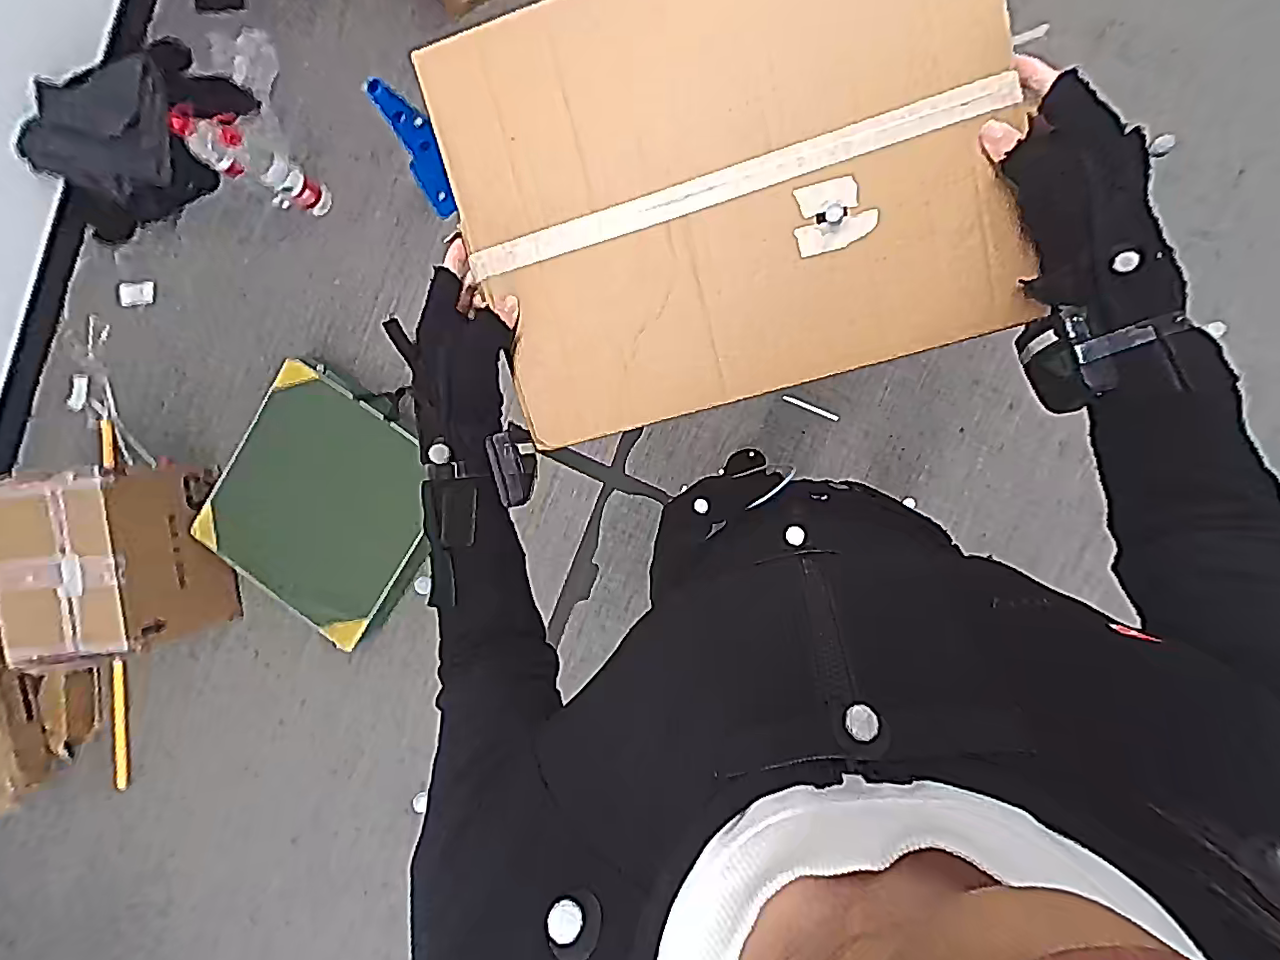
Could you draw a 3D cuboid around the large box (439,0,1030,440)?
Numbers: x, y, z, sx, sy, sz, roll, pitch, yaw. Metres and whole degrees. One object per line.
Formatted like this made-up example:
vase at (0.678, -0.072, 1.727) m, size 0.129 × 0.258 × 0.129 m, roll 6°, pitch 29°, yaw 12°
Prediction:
large box at (0.083, -0.254, 0.562) m, size 0.408 × 0.320 × 0.320 m, roll -14°, pitch 100°, yaw 9°
